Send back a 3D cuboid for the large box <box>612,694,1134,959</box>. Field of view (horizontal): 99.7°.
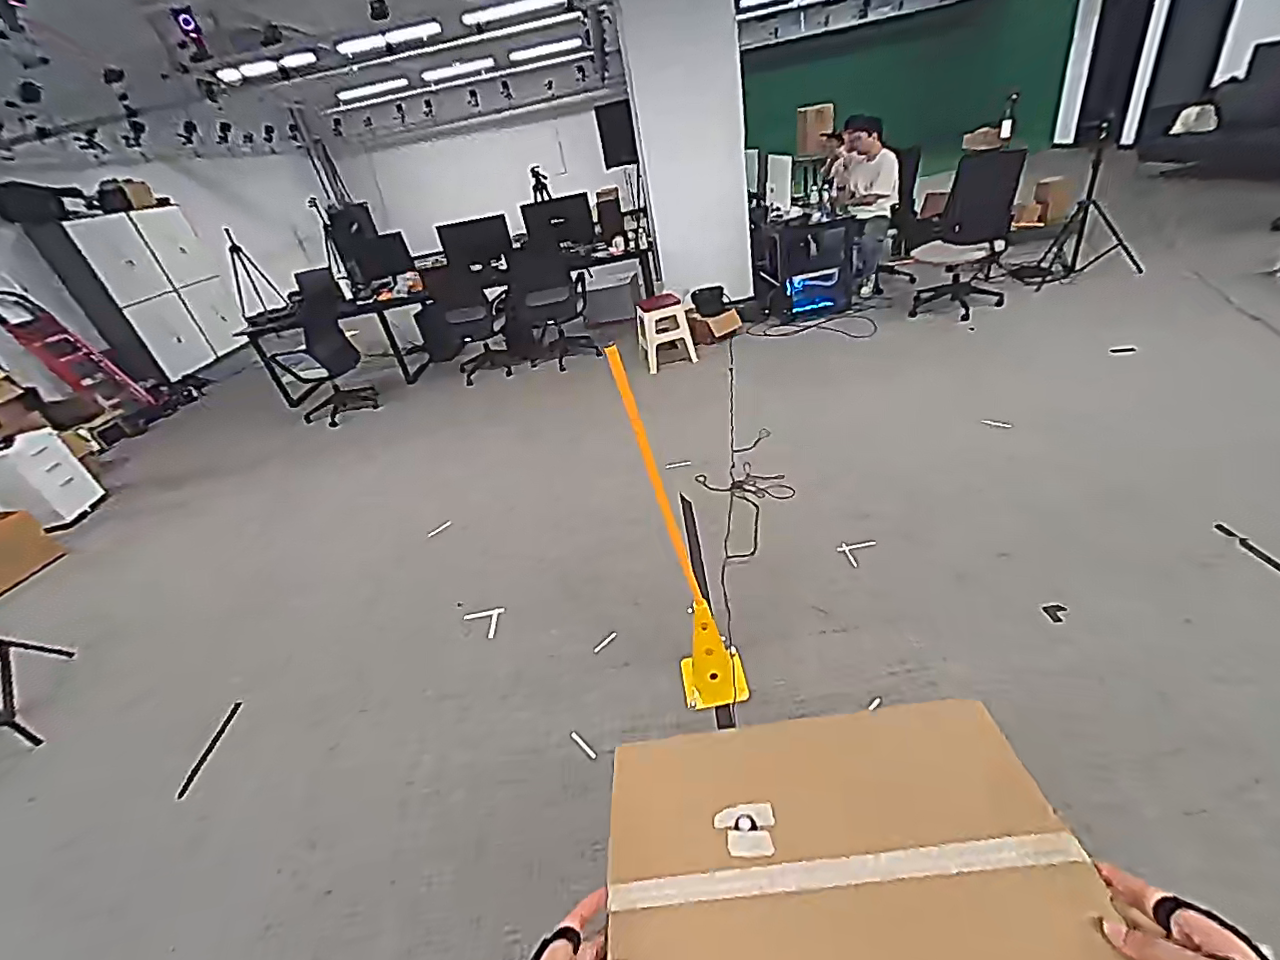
[{"bbox_3d":[0.204,0.478,0.557,0.408,0.320,0.320,-12,28,6],"label":"large box"}]
